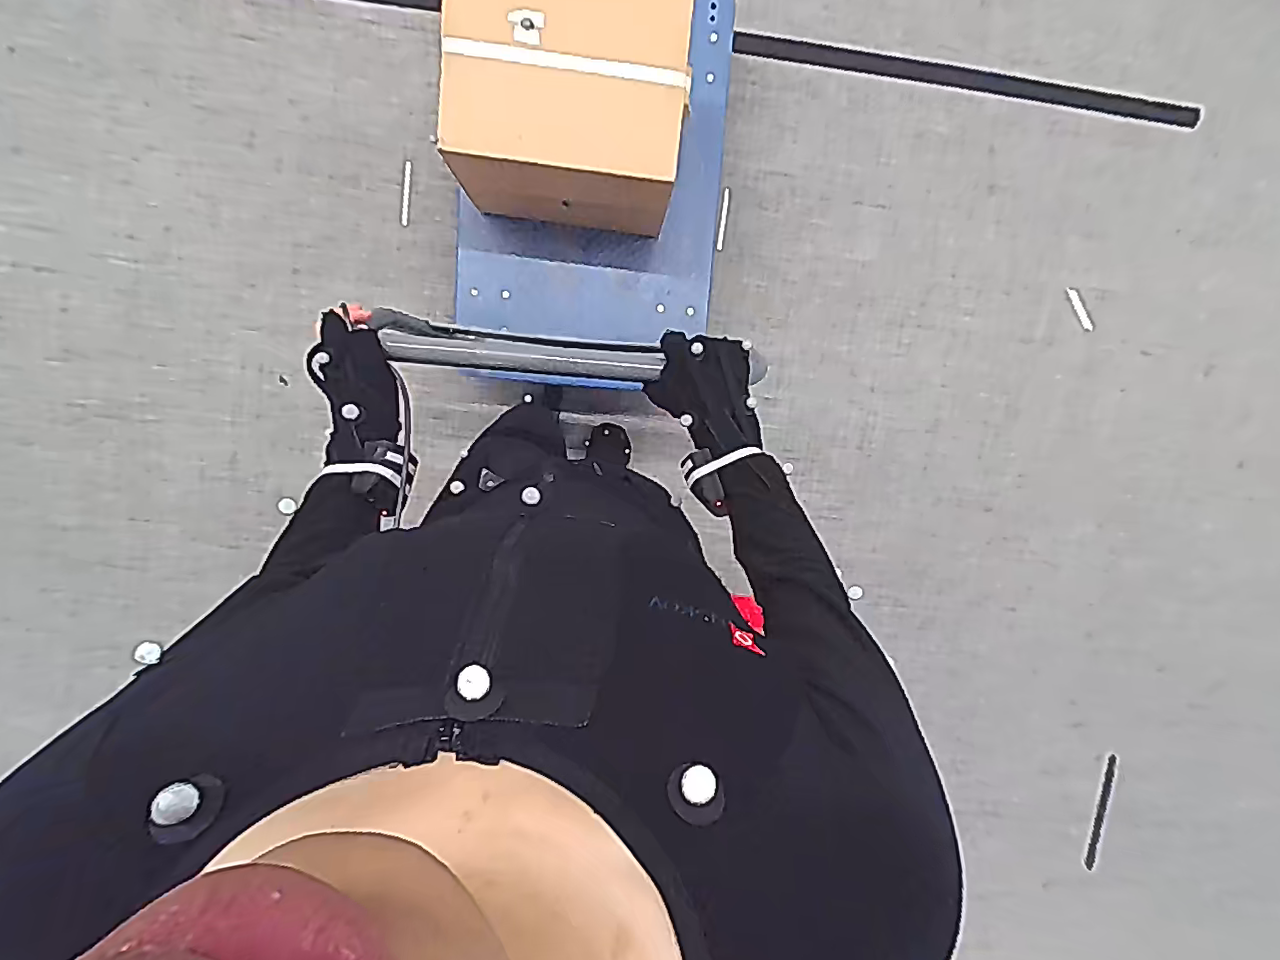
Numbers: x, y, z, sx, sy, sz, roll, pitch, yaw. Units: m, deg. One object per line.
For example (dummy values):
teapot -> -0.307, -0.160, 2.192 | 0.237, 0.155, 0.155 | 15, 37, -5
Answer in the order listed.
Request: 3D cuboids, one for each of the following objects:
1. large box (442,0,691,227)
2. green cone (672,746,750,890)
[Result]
large box -> -0.128, -0.710, 1.045 | 0.408, 0.320, 0.320 | 5, 98, -3
green cone -> 0.218, 0.911, 1.428 | 0.202, 0.368, 0.200 | 10, 97, -5
